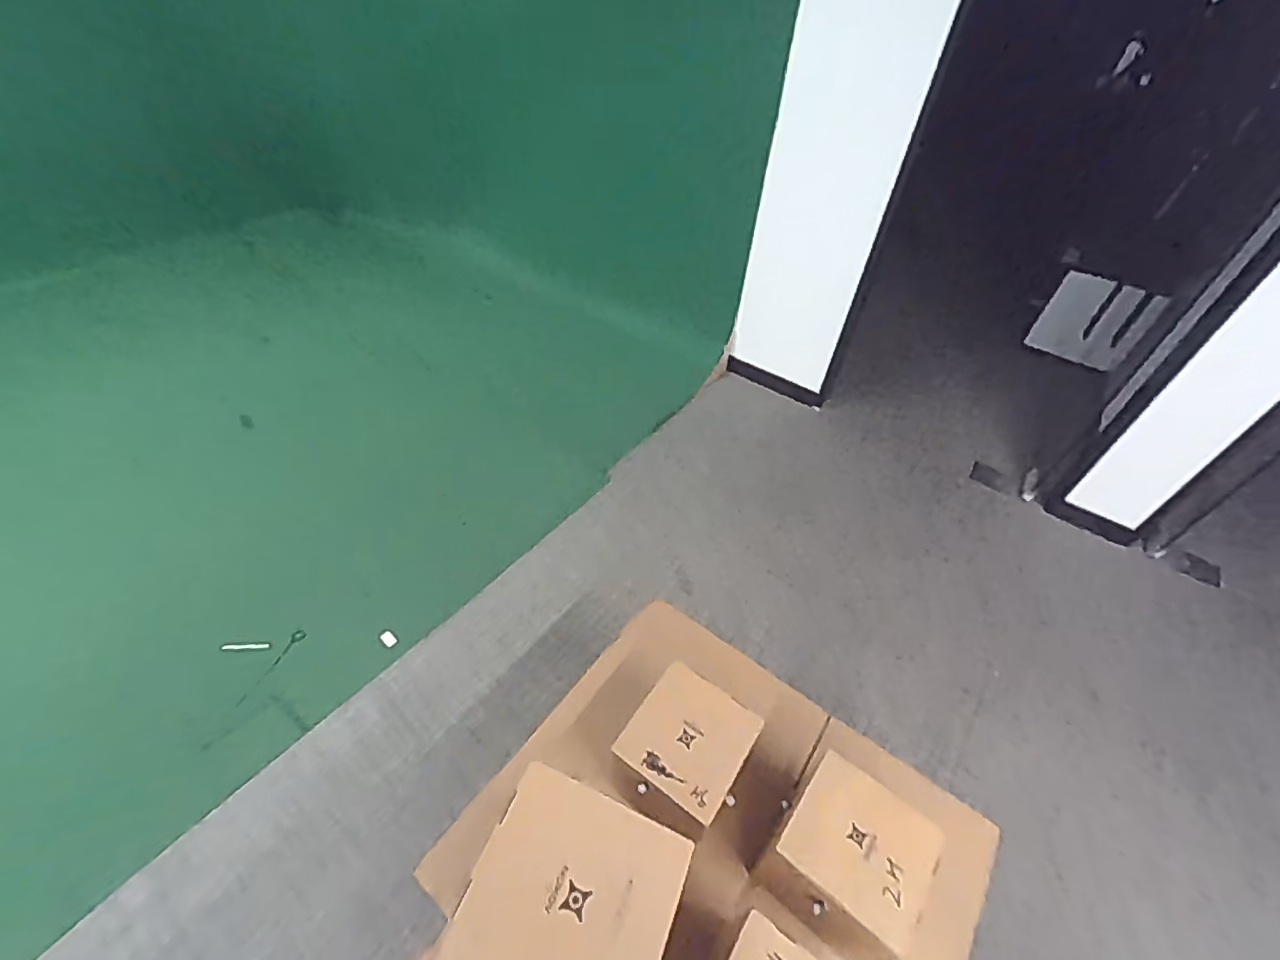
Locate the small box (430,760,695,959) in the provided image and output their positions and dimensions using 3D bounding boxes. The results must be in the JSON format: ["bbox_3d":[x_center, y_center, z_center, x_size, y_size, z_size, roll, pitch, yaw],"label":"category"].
[{"bbox_3d":[-0.067,0.408,0.523,0.179,0.176,0.168,22,52,10],"label":"small box"}]

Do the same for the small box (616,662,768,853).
[{"bbox_3d":[0.073,0.430,0.843,0.168,0.176,0.179,28,48,24],"label":"small box"}]
